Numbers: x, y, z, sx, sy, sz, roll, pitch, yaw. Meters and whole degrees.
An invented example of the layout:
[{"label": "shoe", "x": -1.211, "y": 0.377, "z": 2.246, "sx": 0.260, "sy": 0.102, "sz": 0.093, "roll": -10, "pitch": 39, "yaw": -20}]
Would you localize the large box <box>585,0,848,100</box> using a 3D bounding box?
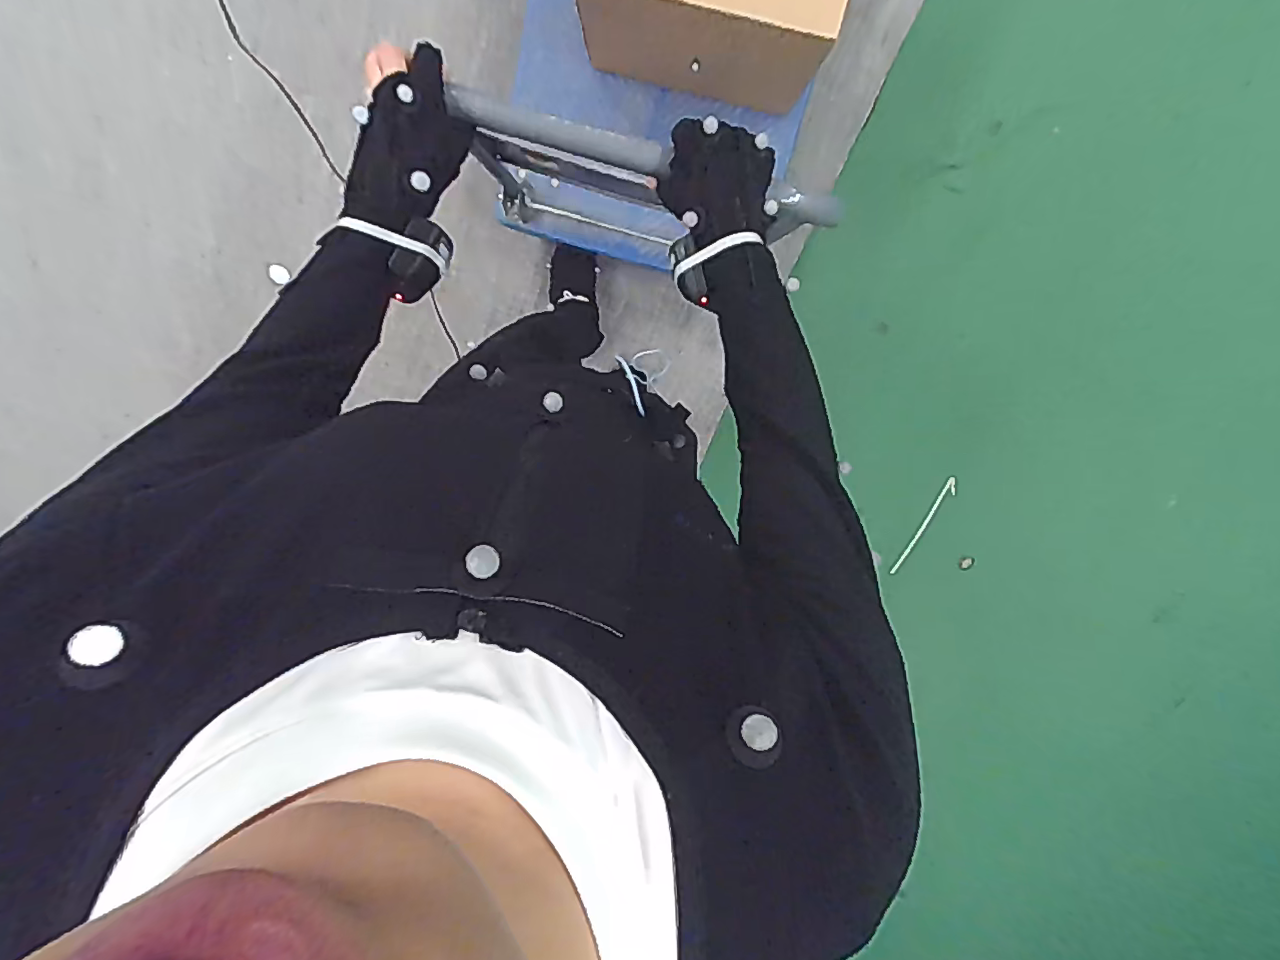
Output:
[{"label": "large box", "x": 0.139, "y": -0.892, "z": 0.899, "sx": 0.408, "sy": 0.320, "sz": 0.320, "roll": 11, "pitch": 107, "yaw": -1}]
